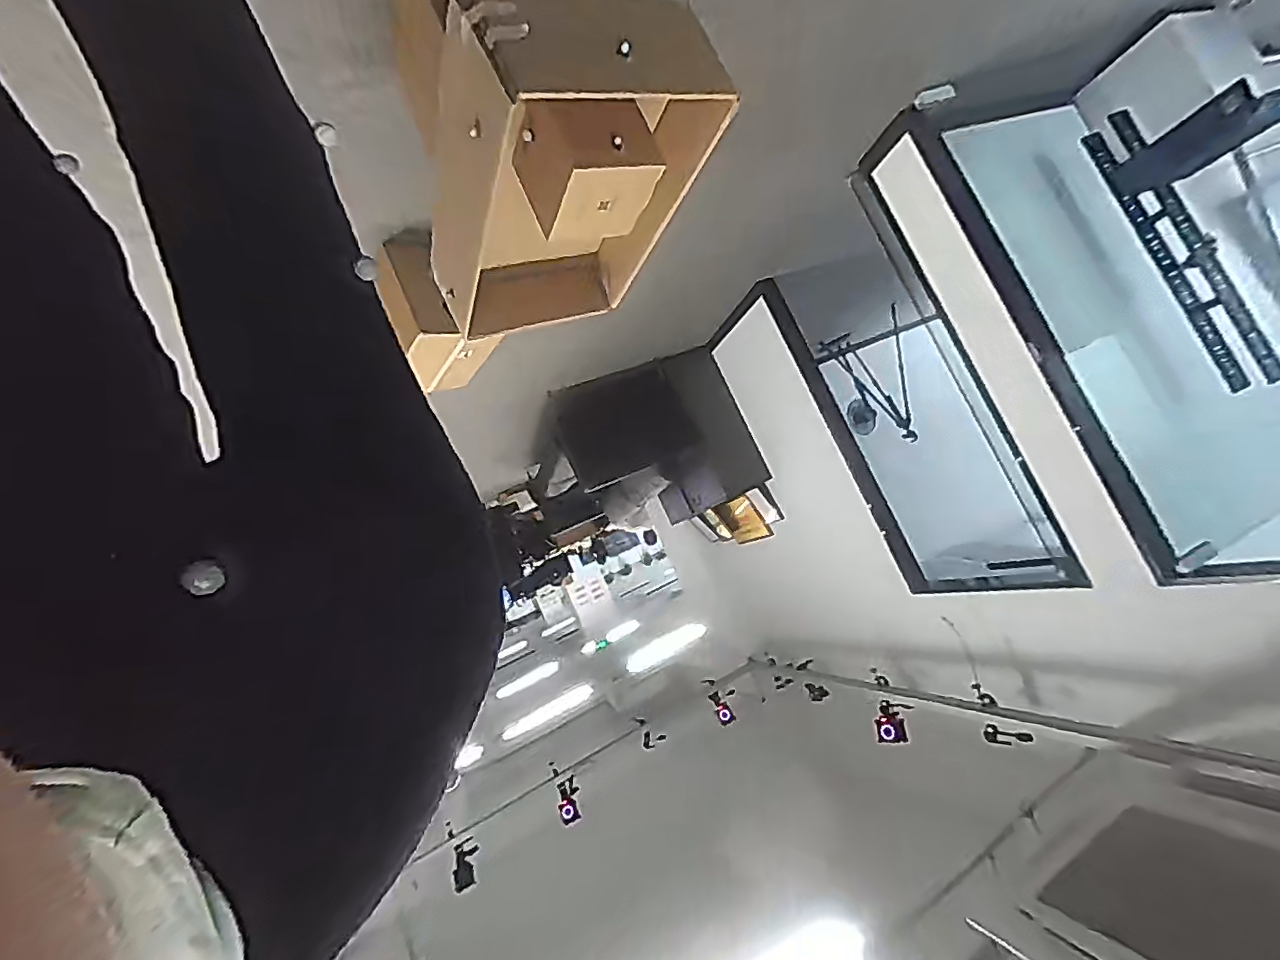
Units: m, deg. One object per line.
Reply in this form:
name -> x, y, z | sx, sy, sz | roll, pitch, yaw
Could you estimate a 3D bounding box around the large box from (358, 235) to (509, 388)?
large box -> -0.708, -0.555, 1.824 | 0.320, 0.320, 0.408 | -20, 172, -43
